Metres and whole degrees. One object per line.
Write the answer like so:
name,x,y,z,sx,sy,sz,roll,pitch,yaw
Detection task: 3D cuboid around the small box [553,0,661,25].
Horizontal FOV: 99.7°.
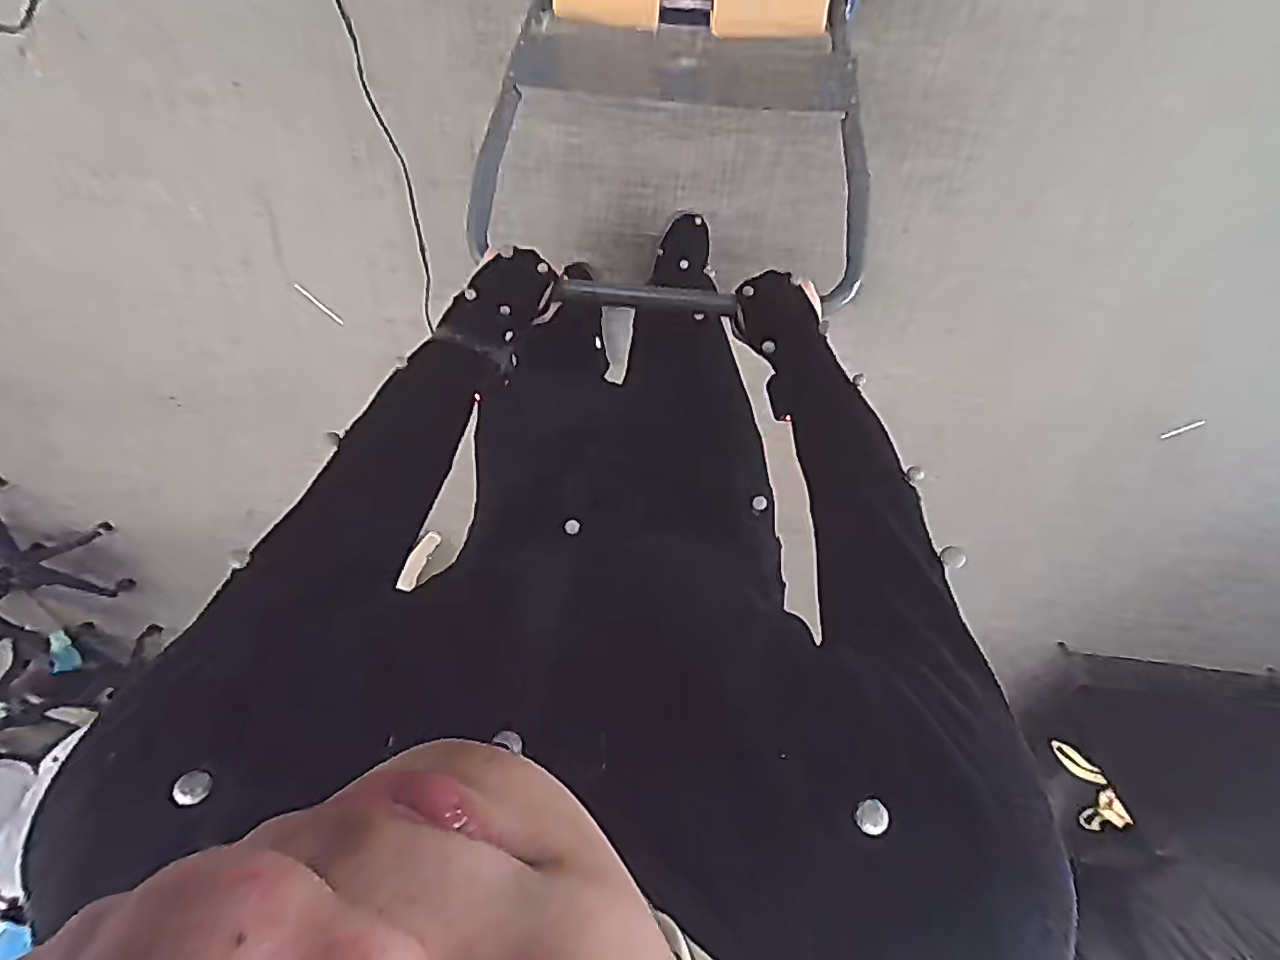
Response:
small box,-0.037,-0.832,0.802,0.168,0.176,0.179,7,152,-4
